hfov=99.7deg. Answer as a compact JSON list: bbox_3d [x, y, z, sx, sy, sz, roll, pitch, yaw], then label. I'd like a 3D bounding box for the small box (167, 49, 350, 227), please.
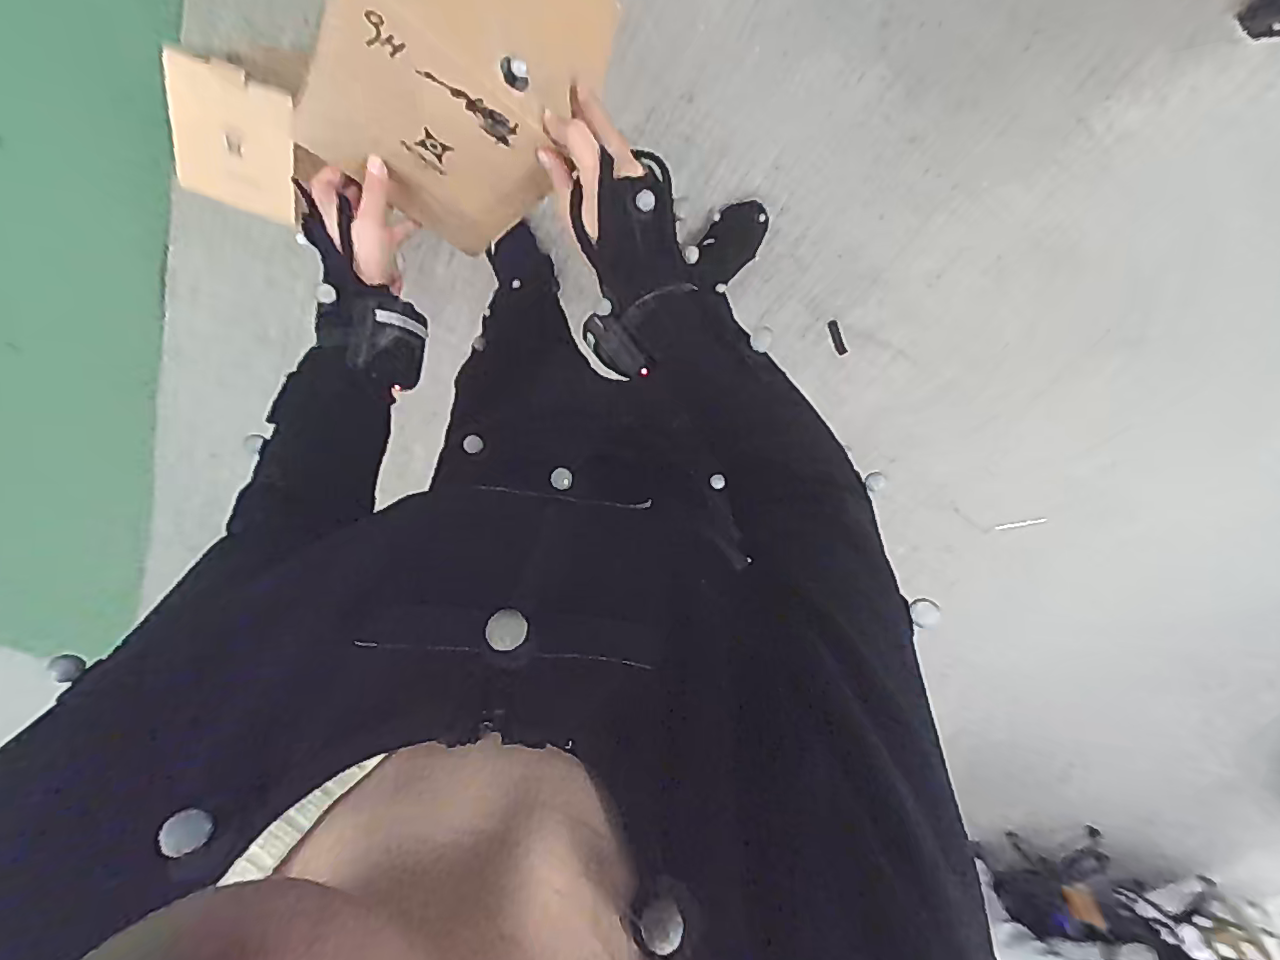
[{"bbox_3d":[-0.564,-0.521,0.829,0.168,0.176,0.179,17,126,-9],"label":"small box"}]

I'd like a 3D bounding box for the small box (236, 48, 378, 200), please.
[{"bbox_3d":[-0.567,-0.625,0.954,0.179,0.176,0.168,19,124,-11],"label":"small box"}]

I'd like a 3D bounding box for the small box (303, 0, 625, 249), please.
[{"bbox_3d":[-0.132,-0.330,0.430,0.168,0.176,0.179,25,159,-39],"label":"small box"}]
